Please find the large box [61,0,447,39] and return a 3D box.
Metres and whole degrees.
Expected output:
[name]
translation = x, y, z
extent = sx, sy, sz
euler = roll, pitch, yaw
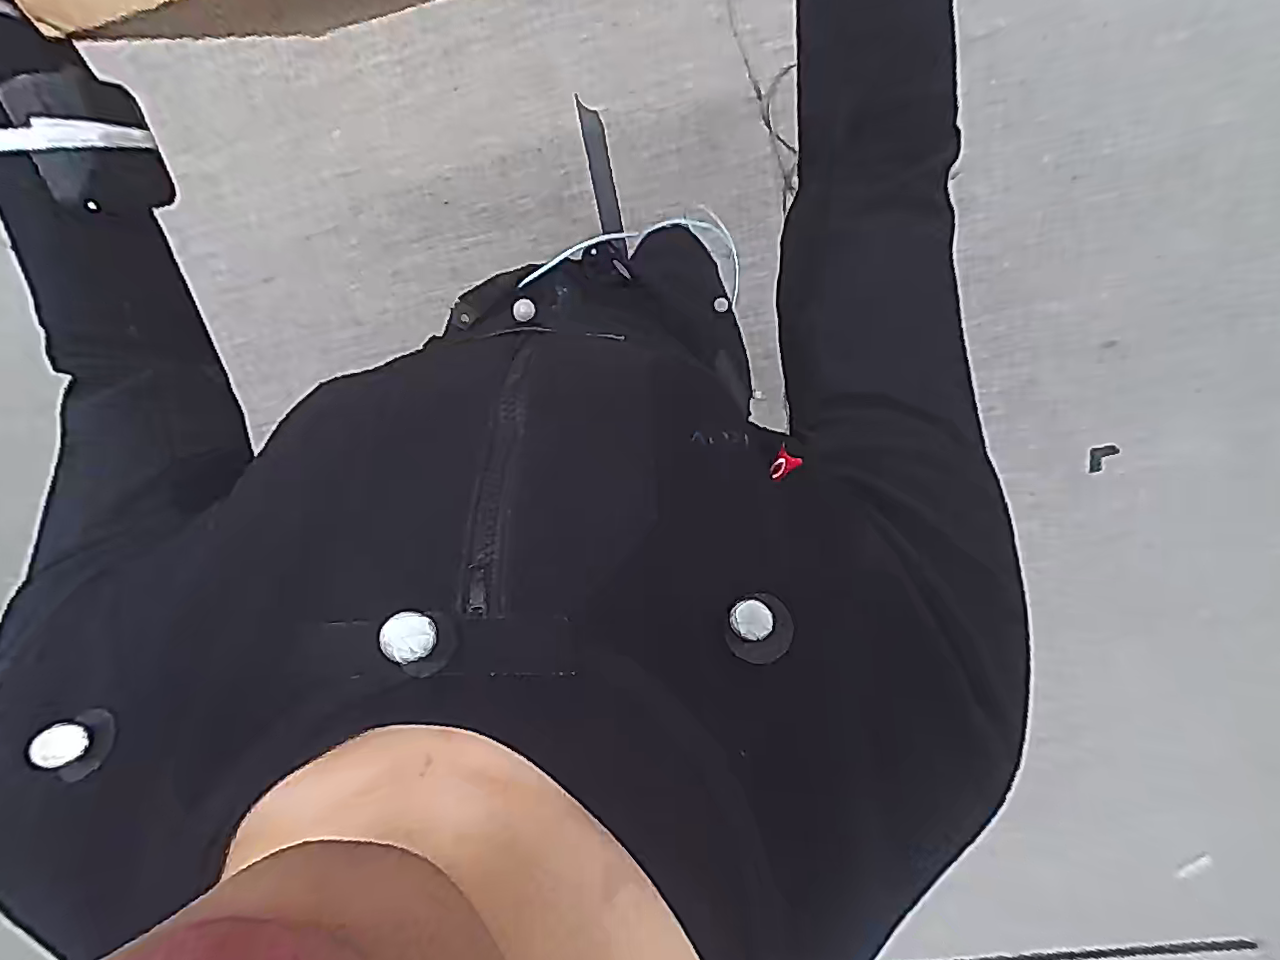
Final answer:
[large box]
translation = -0.156, -0.493, 0.301
extent = 0.408, 0.320, 0.320
euler = -10, 130, 7
